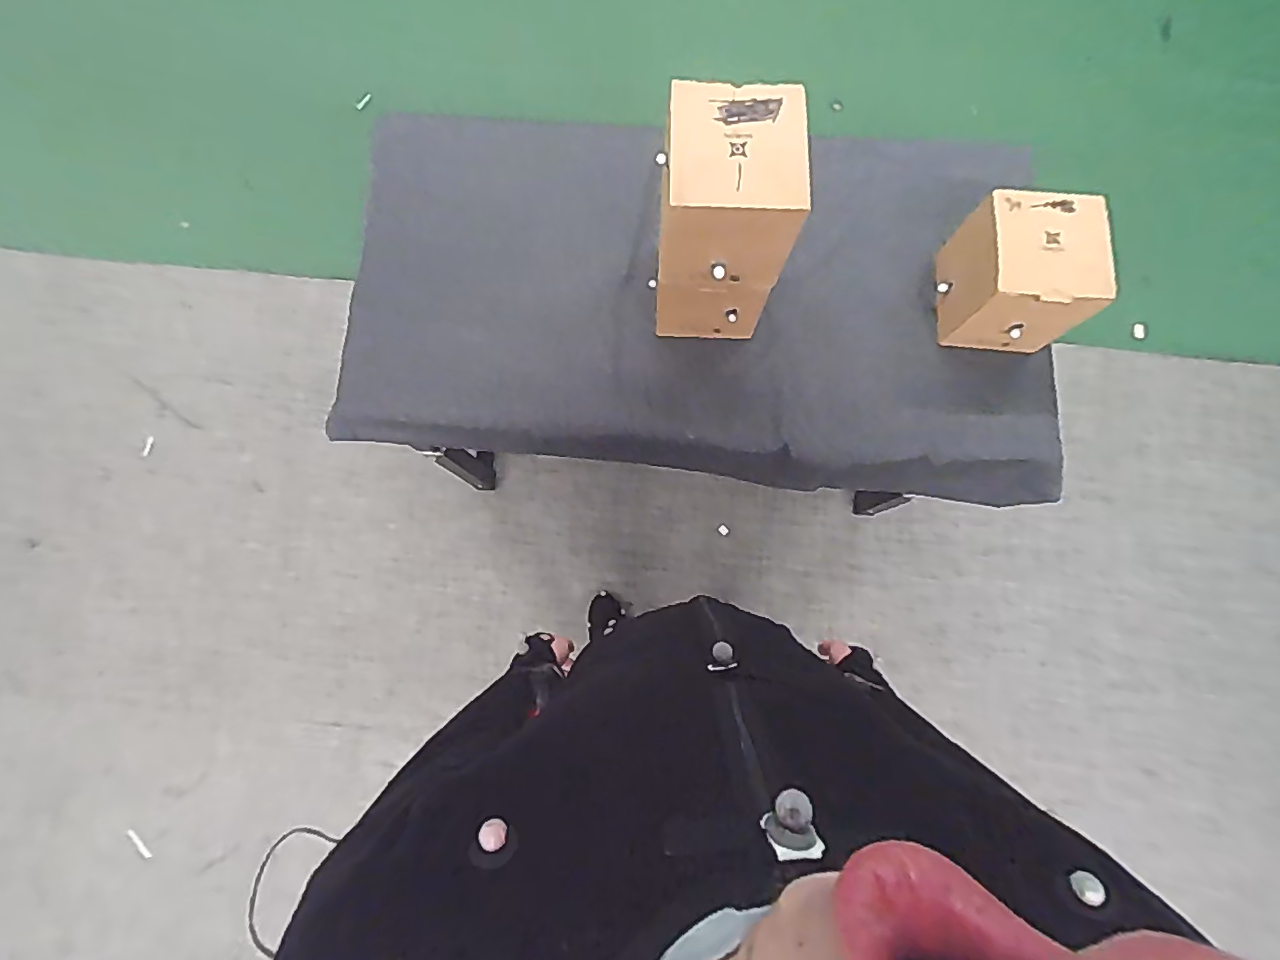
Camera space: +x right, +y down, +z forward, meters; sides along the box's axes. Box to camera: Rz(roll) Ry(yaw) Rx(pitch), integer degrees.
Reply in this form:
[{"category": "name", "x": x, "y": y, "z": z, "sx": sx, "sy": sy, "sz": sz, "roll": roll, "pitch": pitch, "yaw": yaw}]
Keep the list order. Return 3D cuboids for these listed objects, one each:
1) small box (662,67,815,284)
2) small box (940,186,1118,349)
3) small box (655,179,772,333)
[{"category": "small box", "x": 0.115, "y": -0.381, "z": 0.698, "sx": 0.168, "sy": 0.176, "sz": 0.179, "roll": 2, "pitch": 80, "yaw": -1}, {"category": "small box", "x": 0.597, "y": -0.324, "z": 0.852, "sx": 0.168, "sy": 0.176, "sz": 0.179, "roll": 6, "pitch": 79, "yaw": 1}, {"category": "small box", "x": 0.111, "y": -0.351, "z": 0.859, "sx": 0.168, "sy": 0.176, "sz": 0.179, "roll": 3, "pitch": 77, "yaw": -1}]
